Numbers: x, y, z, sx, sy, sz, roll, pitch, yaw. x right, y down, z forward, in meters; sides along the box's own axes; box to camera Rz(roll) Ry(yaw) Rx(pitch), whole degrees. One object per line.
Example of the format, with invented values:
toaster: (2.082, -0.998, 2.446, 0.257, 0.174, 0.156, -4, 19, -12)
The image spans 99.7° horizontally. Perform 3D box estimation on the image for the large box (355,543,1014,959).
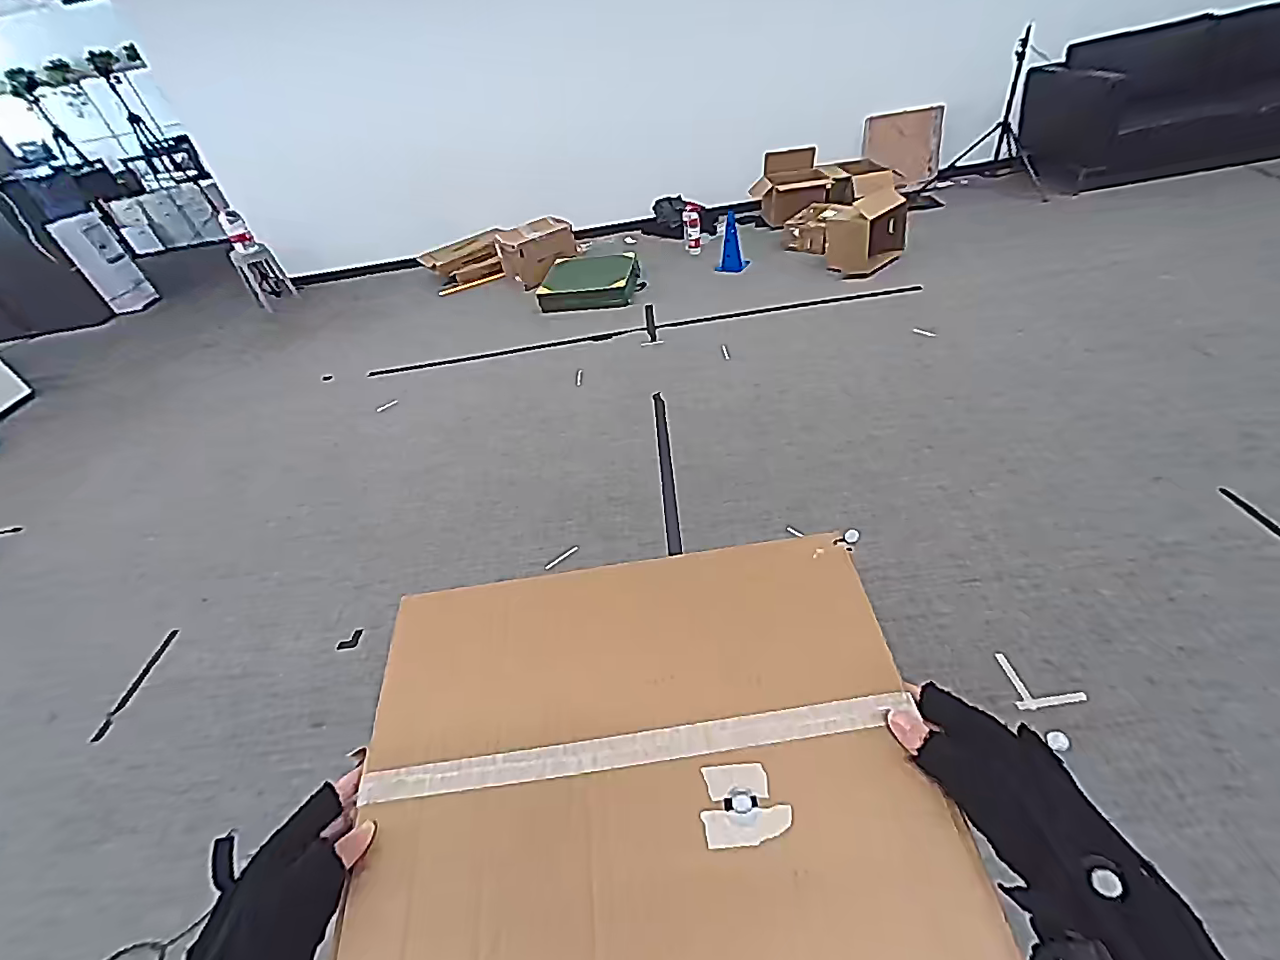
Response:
large box: (0.018, 0.300, 0.515, 0.408, 0.320, 0.320, -9, 50, 0)
